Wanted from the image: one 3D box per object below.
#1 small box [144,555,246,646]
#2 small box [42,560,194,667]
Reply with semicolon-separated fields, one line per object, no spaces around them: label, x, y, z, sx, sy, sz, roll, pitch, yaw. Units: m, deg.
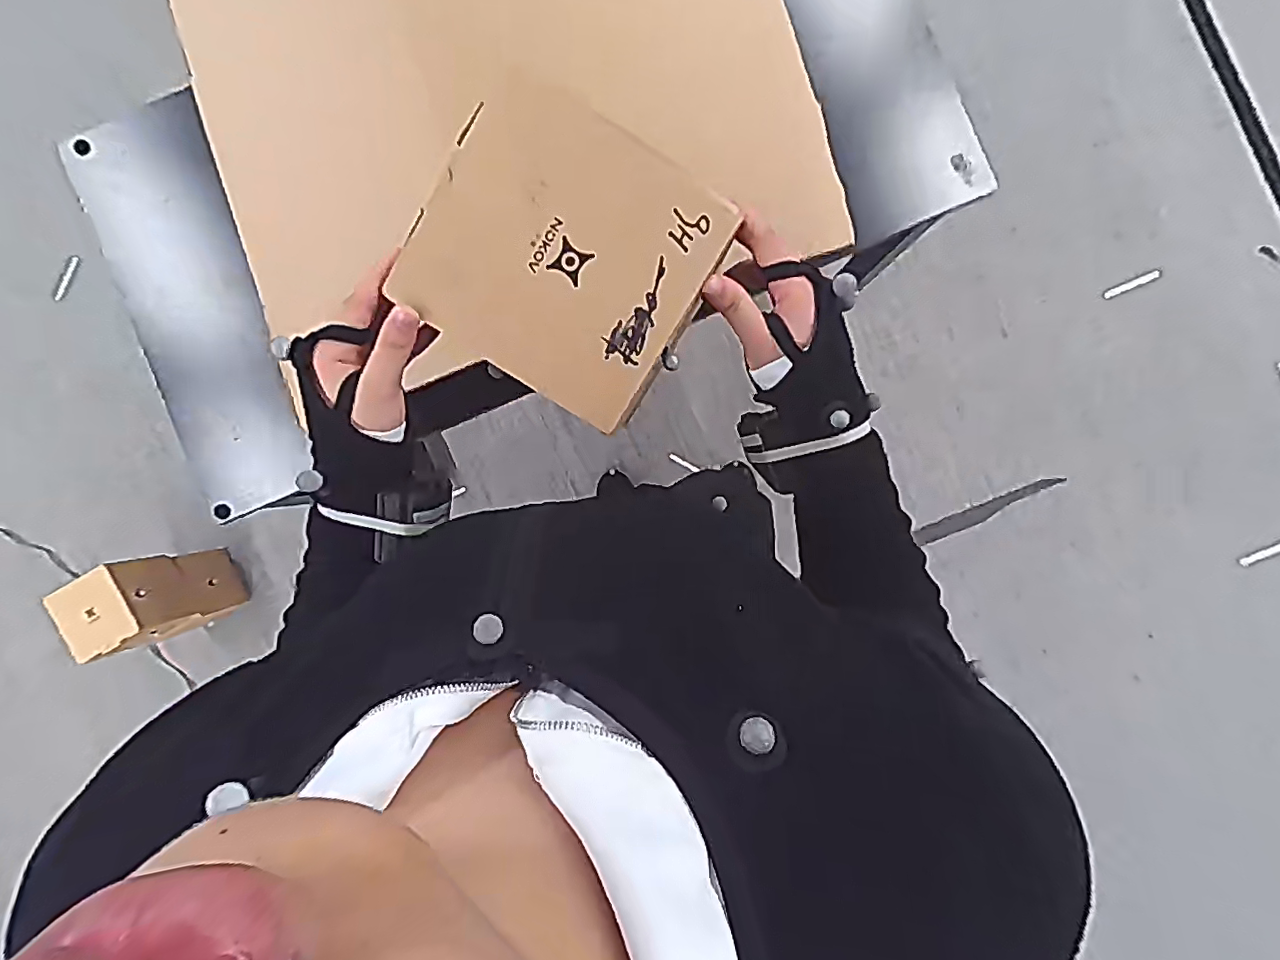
small box;-1.222;0.312;1.452;0.168;0.176;0.179;-27;90;2
small box;-1.231;0.308;1.290;0.168;0.176;0.179;-30;88;1
